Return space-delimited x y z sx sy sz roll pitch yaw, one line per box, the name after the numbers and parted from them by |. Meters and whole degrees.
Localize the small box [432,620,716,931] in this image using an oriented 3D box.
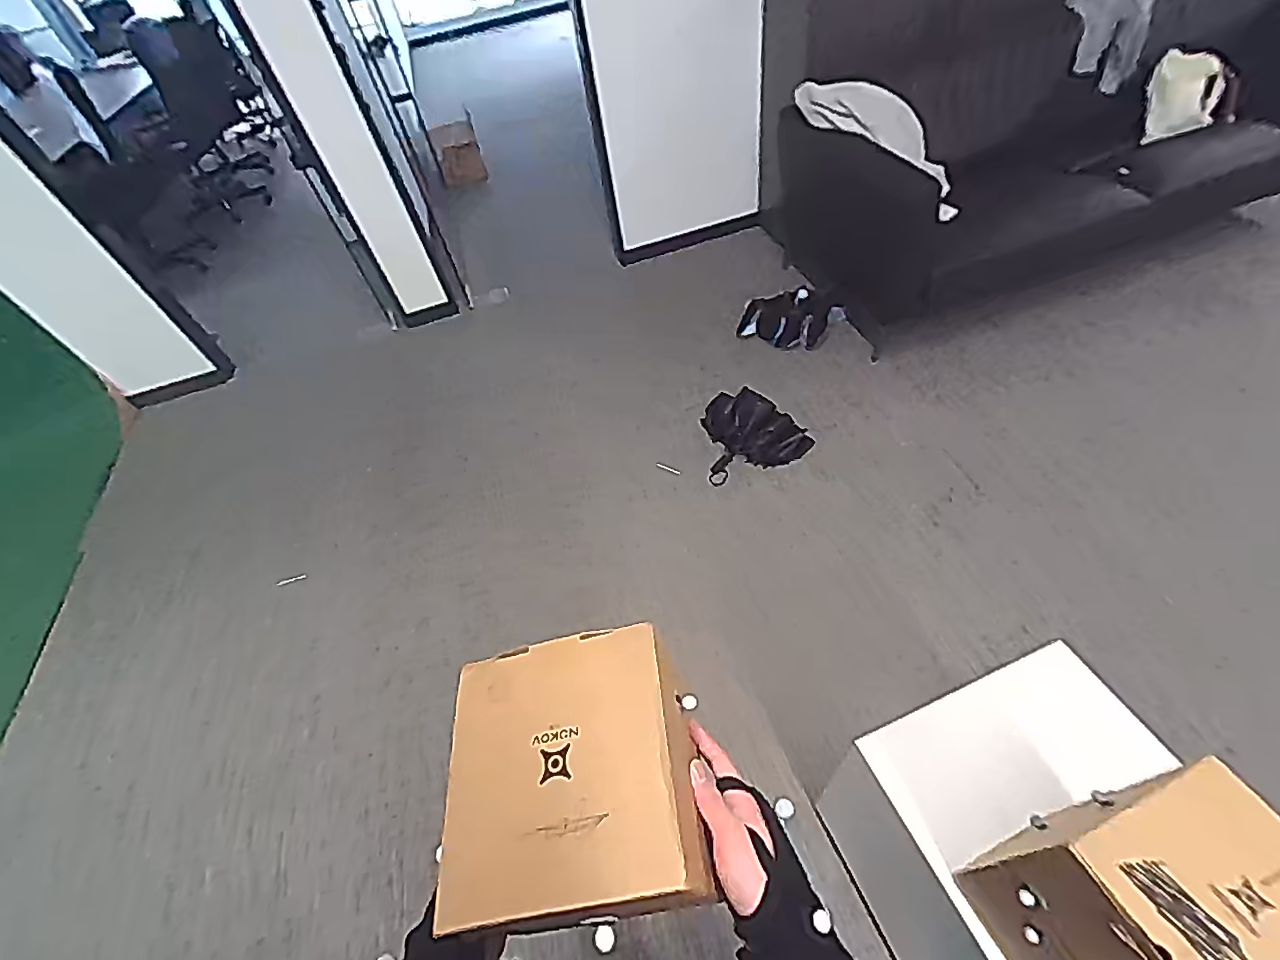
-0.043 0.245 0.443 0.168 0.176 0.179 -16 48 6 | small box

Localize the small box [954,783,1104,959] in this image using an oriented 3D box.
0.516 0.494 0.635 0.179 0.176 0.168 -23 50 -12 | small box

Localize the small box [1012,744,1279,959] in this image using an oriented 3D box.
0.497 0.388 0.510 0.179 0.176 0.168 -22 50 -11 | small box
